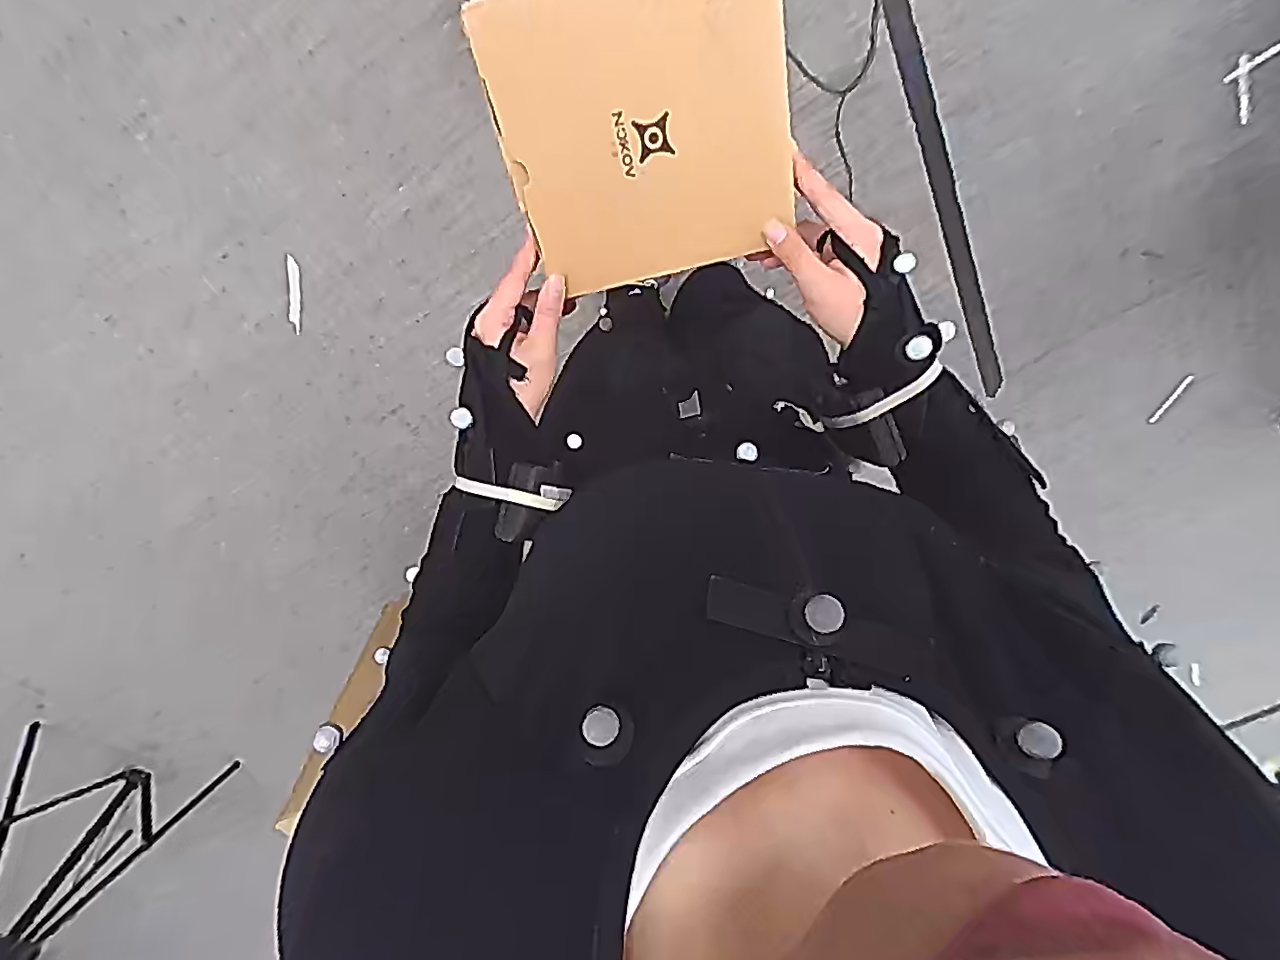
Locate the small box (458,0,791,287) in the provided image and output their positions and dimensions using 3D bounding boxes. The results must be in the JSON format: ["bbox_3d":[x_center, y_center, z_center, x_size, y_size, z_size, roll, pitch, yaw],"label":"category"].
[{"bbox_3d":[-0.001,-0.265,0.391,0.179,0.176,0.168,-11,126,8],"label":"small box"}]
